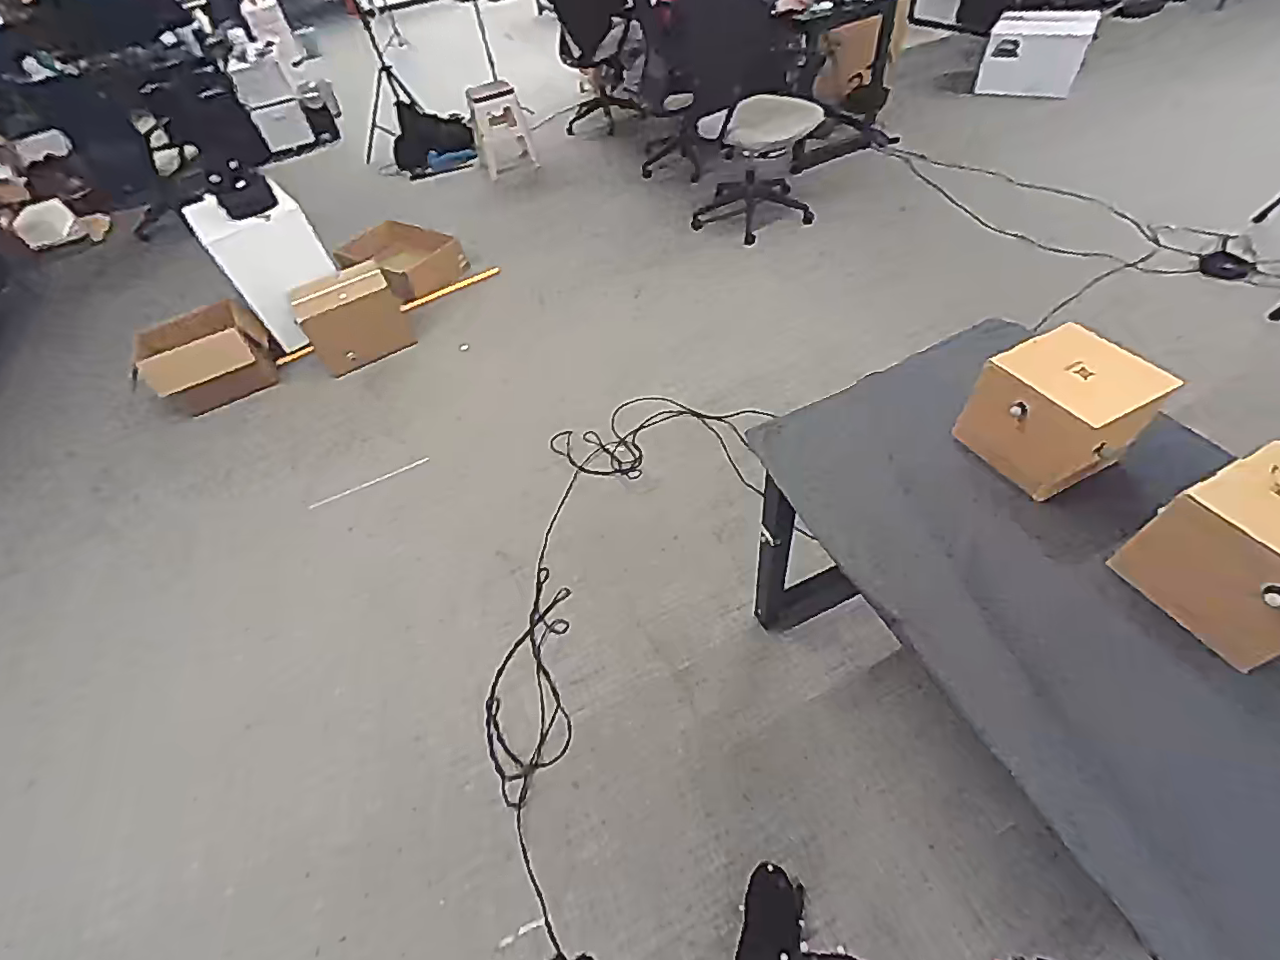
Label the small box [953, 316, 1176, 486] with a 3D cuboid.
[{"bbox_3d":[0.629,-0.113,0.828,0.168,0.176,0.179,-24,51,-10],"label":"small box"}]

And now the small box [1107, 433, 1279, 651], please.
[{"bbox_3d":[0.738,0.082,0.650,0.168,0.176,0.179,-24,52,-11],"label":"small box"}]
